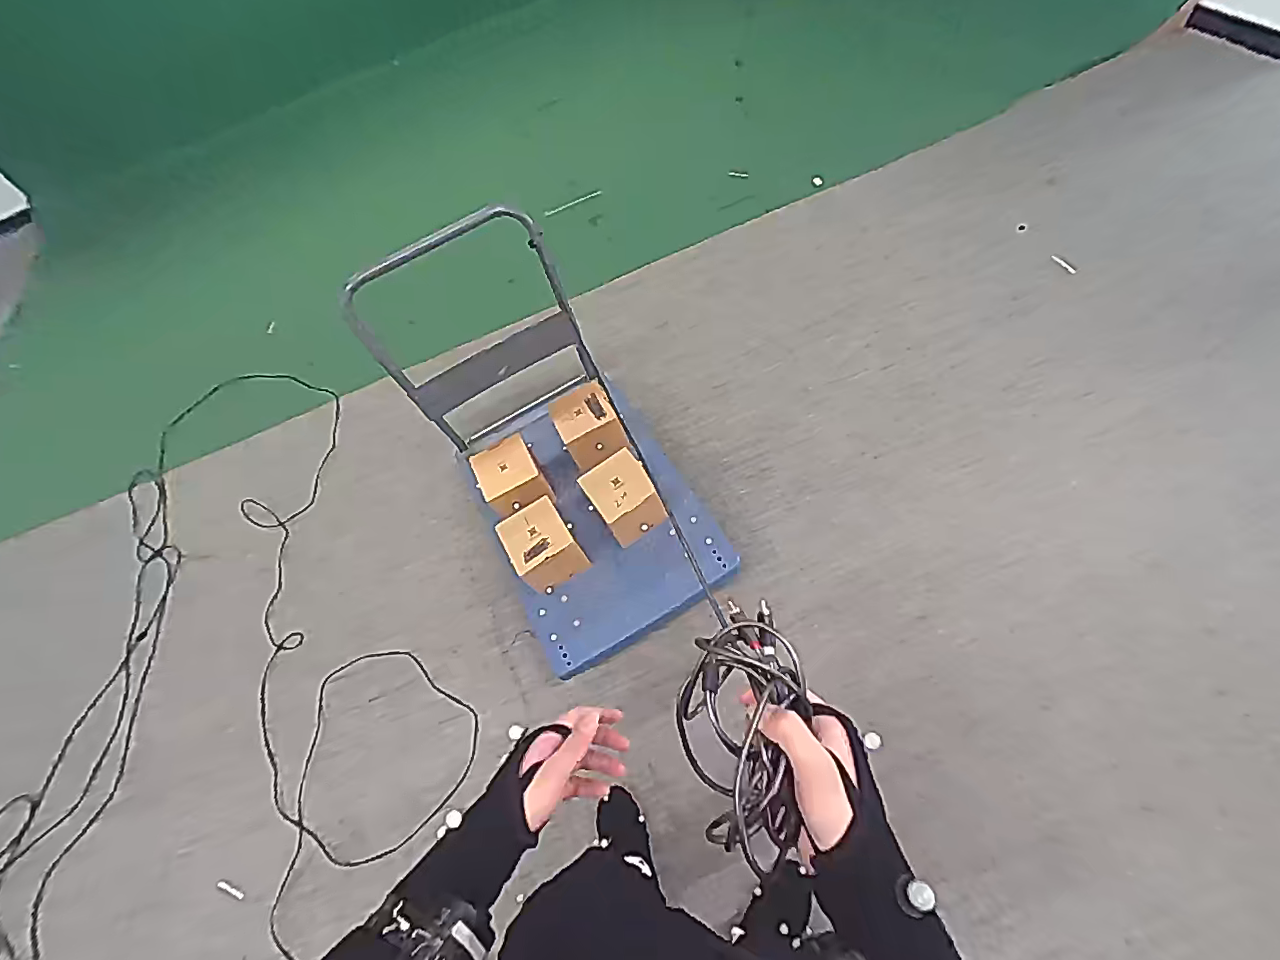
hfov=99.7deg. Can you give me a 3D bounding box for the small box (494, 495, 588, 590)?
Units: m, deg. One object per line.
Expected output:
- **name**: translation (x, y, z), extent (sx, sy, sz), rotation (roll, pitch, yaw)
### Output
- **small box**: translation (-0.263, 0.180, 1.471), extent (0.168, 0.176, 0.179), rotation (-31, 58, -7)

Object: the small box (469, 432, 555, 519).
- **small box**: translation (-0.374, -0.002, 1.602), extent (0.168, 0.176, 0.179), rotation (-29, 58, -5)

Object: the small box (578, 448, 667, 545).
- **small box**: translation (-0.045, 0.050, 1.498), extent (0.168, 0.176, 0.179), rotation (-34, 59, -7)
